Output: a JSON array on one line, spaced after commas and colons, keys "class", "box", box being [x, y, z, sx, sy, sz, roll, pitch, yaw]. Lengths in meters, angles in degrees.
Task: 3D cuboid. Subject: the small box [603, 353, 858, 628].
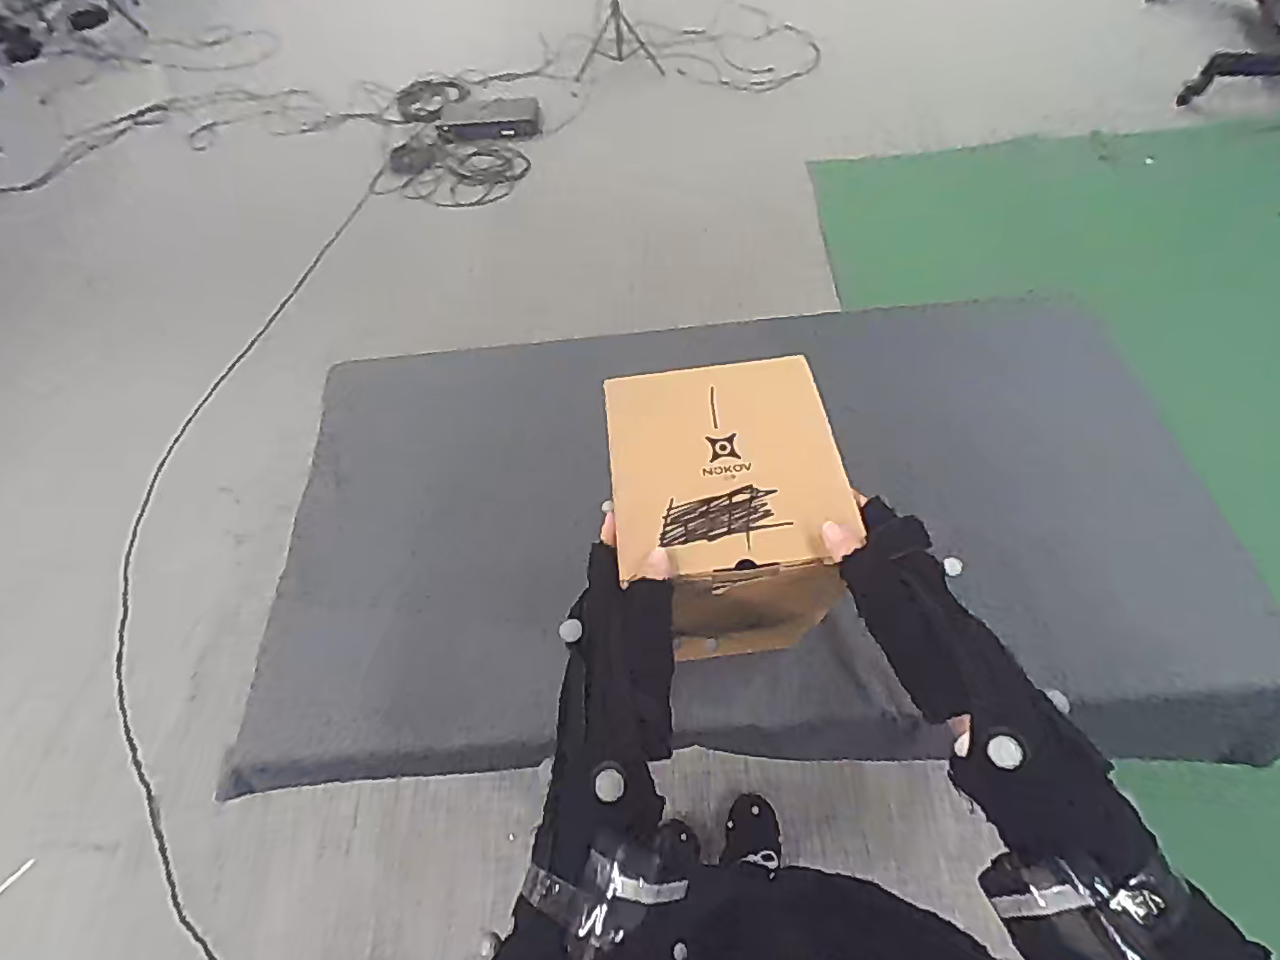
[{"class": "small box", "box": [0.065, 0.020, 0.468, 0.168, 0.176, 0.179, -8, 59, 1]}]

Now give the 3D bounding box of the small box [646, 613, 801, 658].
[{"class": "small box", "box": [0.083, 0.092, 0.618, 0.179, 0.176, 0.168, -11, 58, -1]}]
